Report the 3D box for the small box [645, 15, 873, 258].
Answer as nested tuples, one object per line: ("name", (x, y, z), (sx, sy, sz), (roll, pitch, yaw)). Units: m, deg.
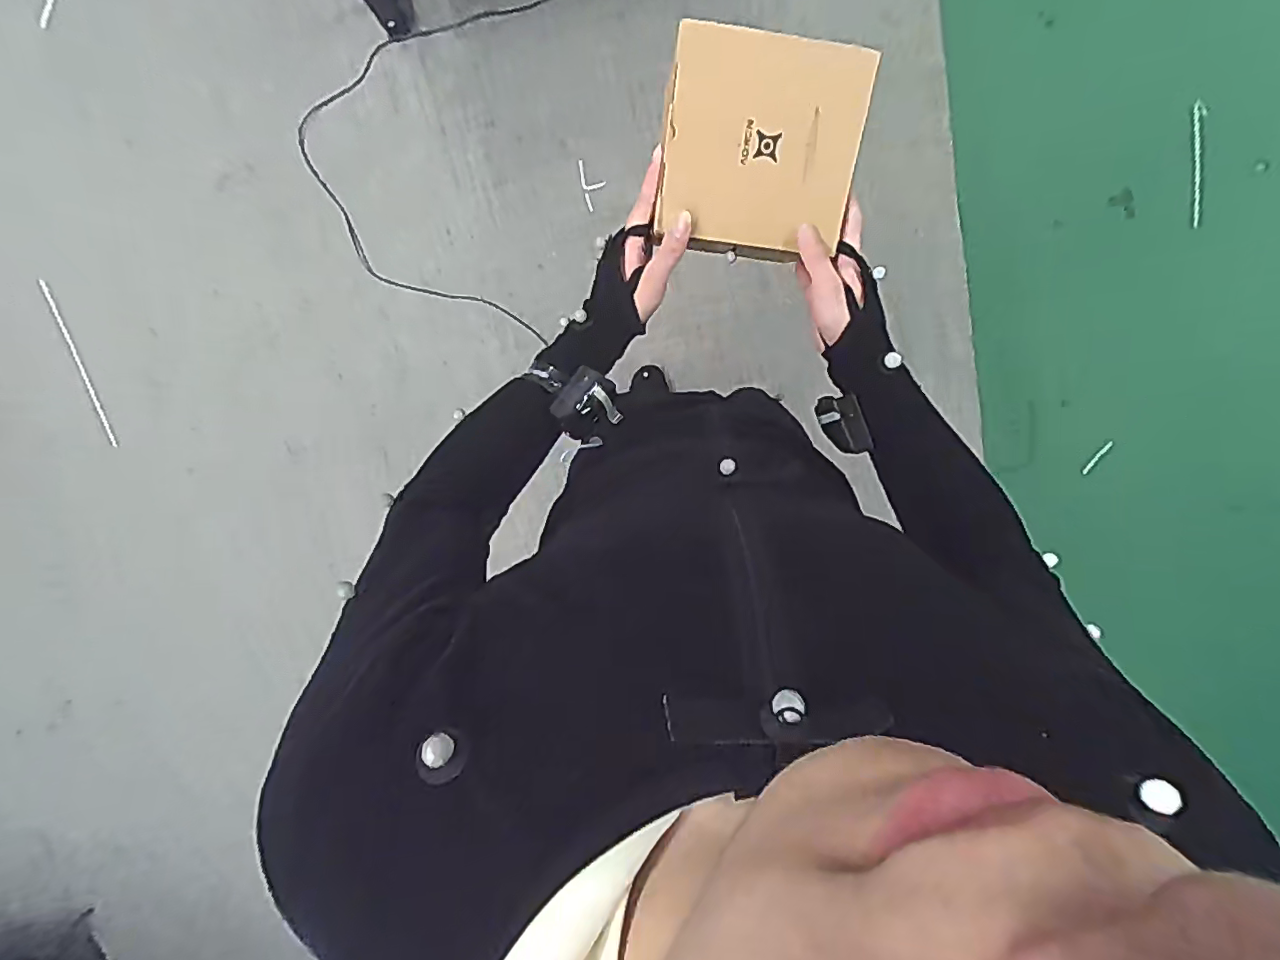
("small box", (0.100, -0.327, 0.553), (0.179, 0.176, 0.168), (6, 110, -4))
